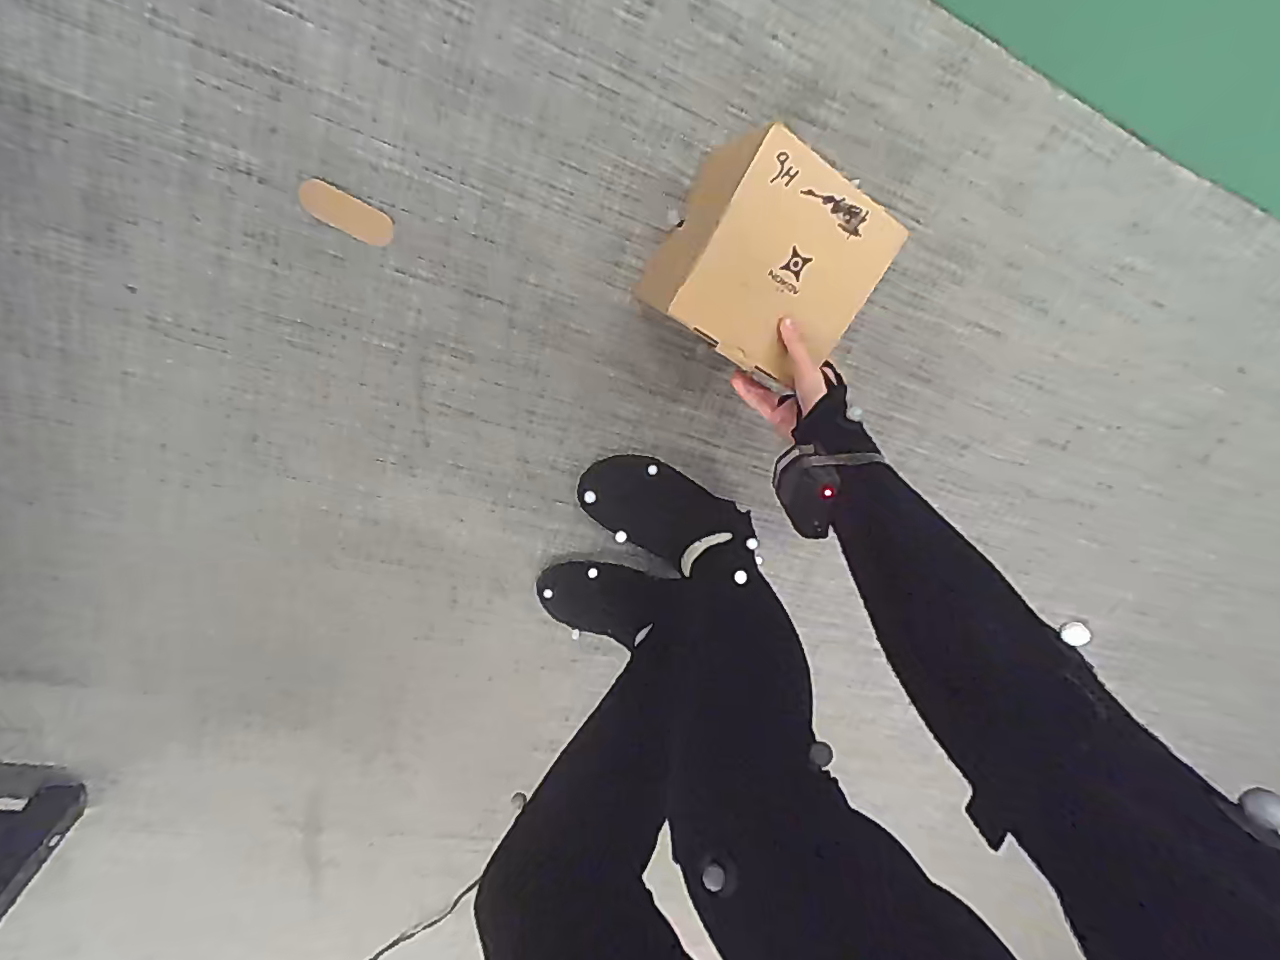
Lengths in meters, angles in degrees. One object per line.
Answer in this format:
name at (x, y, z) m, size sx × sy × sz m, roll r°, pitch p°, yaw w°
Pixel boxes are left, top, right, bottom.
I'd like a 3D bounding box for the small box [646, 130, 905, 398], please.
small box at (0.120, -0.217, 0.563) m, size 0.168 × 0.176 × 0.179 m, roll 25°, pitch 107°, yaw -22°
